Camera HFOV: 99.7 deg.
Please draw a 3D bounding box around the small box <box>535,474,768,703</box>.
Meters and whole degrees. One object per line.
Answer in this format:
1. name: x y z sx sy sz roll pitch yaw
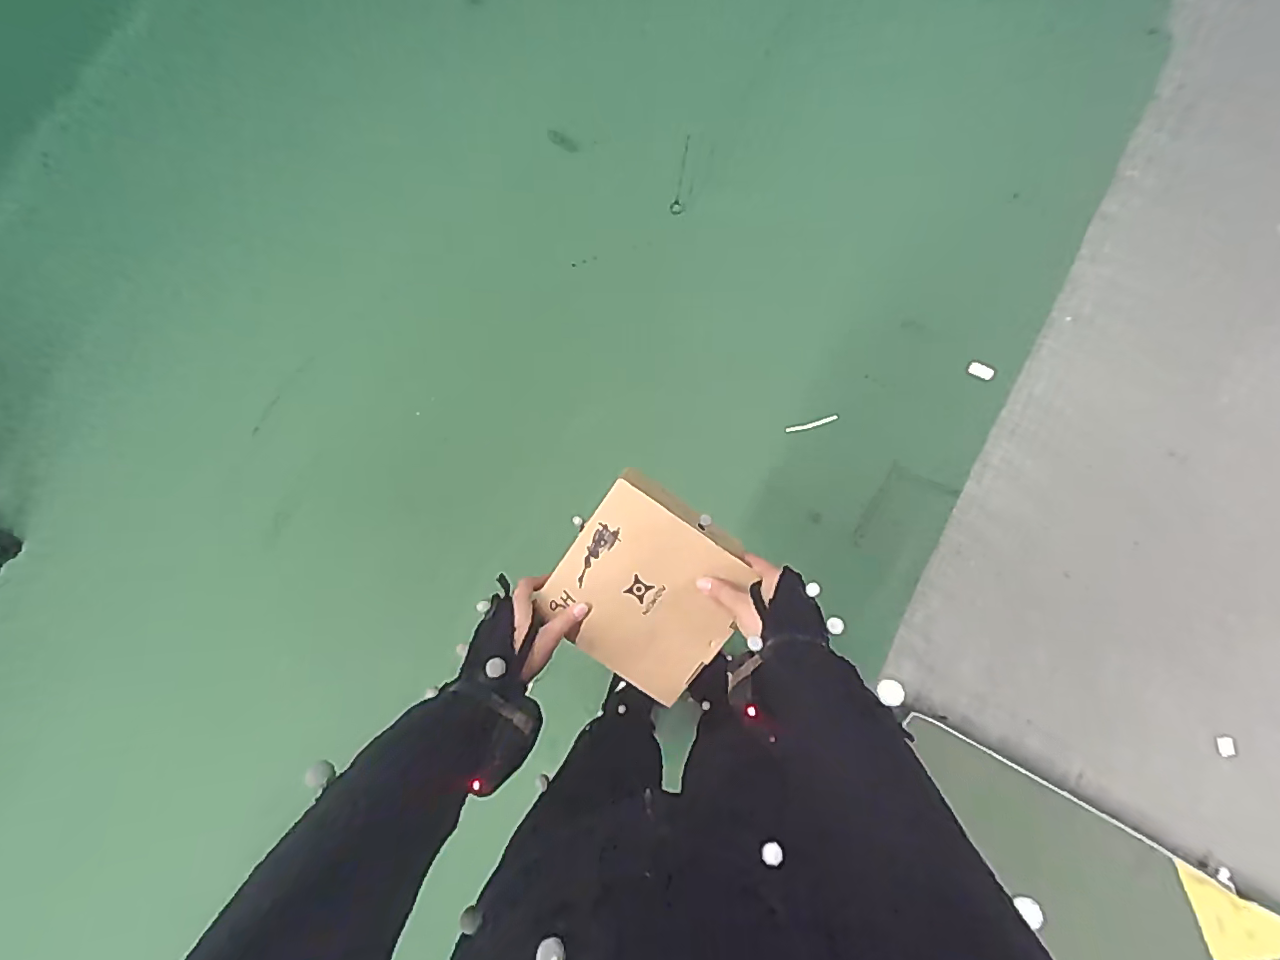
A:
1. small box: 0.013 0.104 0.612 0.179 0.176 0.168 35 94 -1
